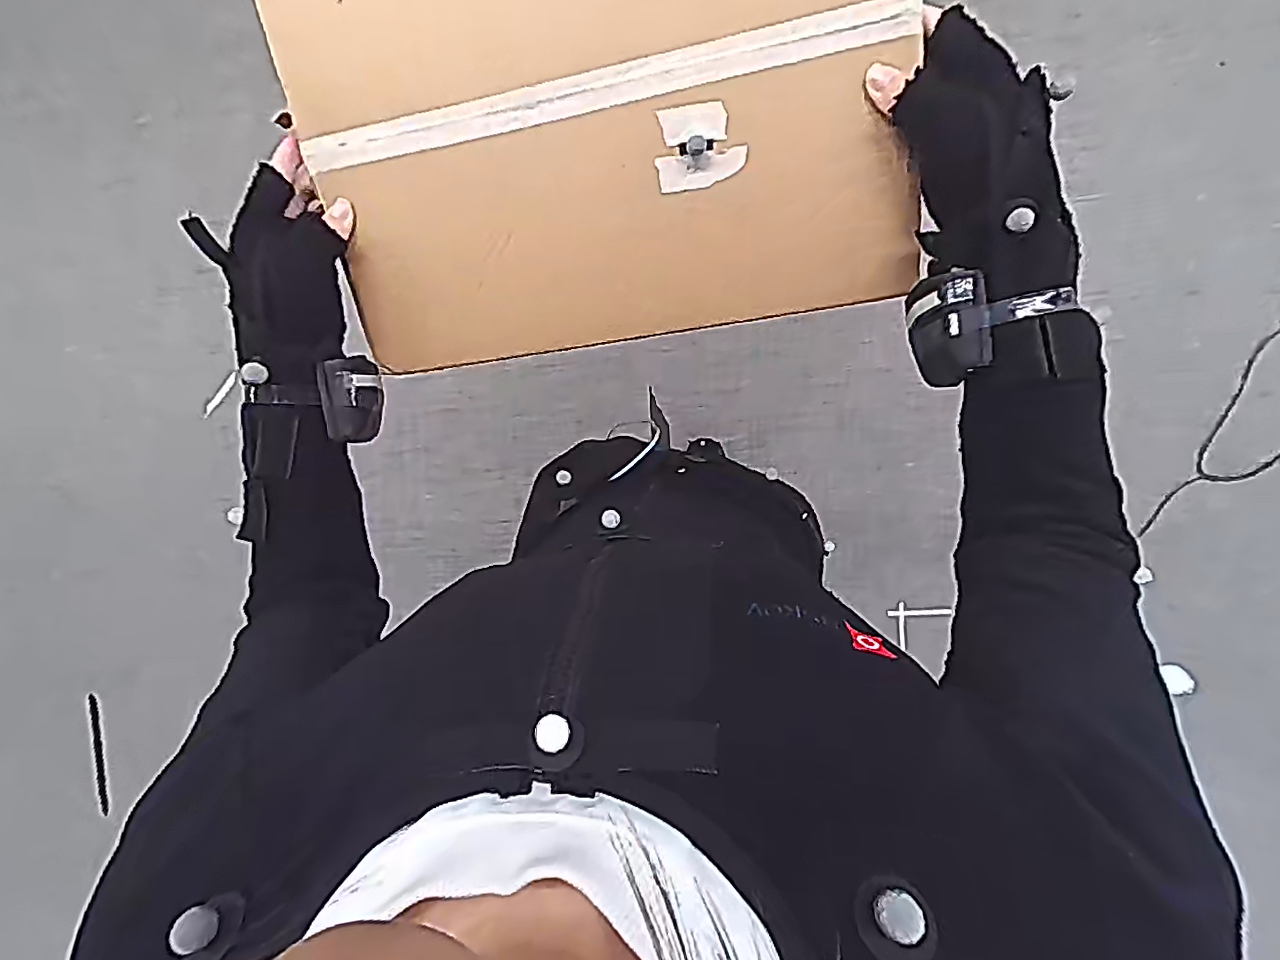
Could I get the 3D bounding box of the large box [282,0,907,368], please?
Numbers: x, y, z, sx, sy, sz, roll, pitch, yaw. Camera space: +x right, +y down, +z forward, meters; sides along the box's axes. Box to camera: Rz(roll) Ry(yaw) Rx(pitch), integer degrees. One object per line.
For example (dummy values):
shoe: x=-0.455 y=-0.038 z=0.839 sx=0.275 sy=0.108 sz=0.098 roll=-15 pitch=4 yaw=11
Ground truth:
large box: x=-0.018 y=-0.310 z=0.504 sx=0.408 sy=0.320 sz=0.320 roll=-7 pitch=110 yaw=9
